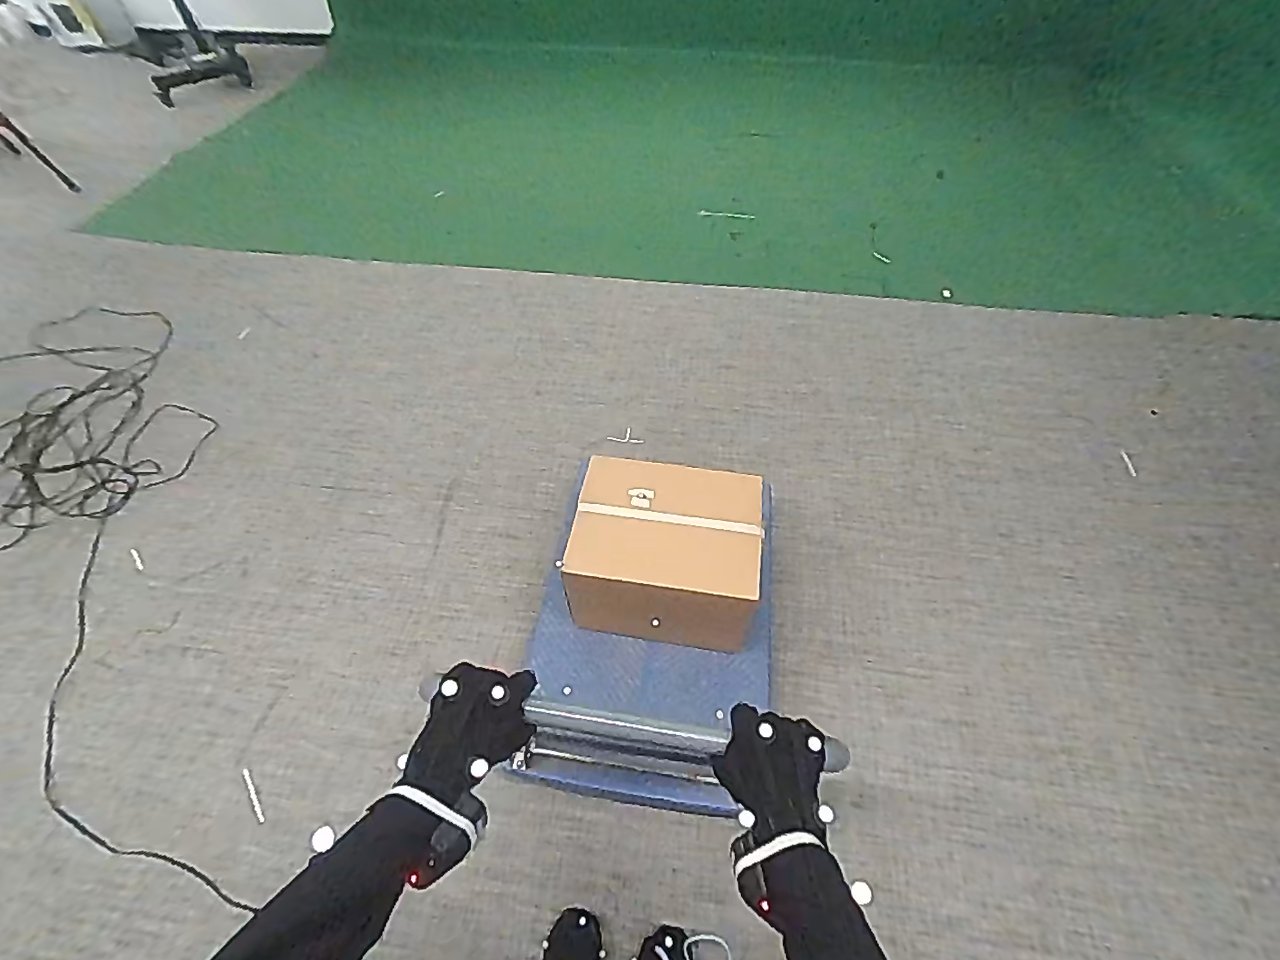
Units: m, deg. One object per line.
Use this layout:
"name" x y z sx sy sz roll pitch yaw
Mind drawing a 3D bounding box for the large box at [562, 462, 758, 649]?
"large box" 0.061 0.186 1.296 0.408 0.320 0.320 7 53 6
